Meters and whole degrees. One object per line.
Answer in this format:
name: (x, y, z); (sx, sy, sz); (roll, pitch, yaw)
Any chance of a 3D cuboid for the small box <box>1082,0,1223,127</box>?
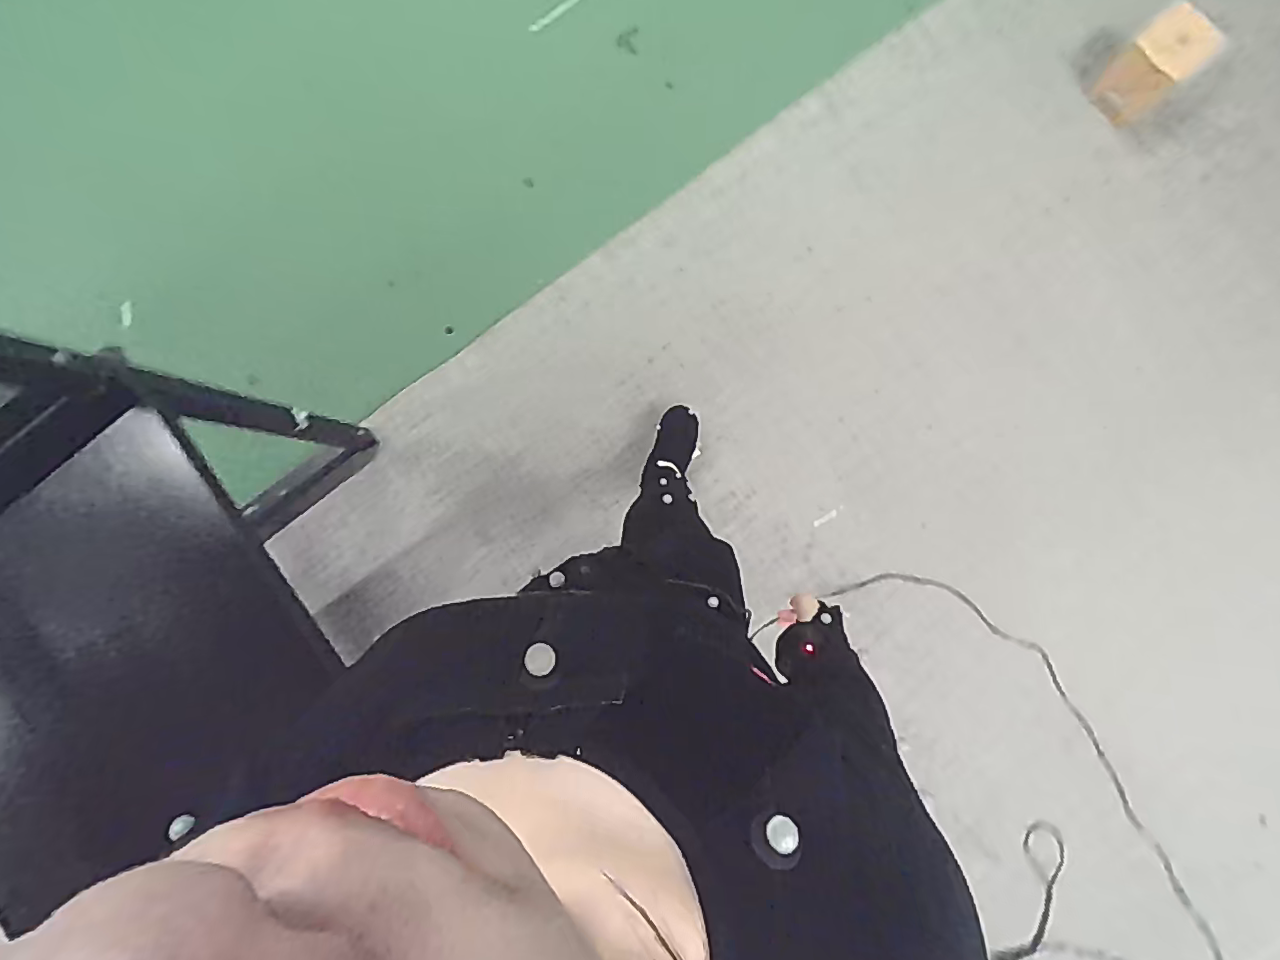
small box: (1.343, -1.096, 1.431); (0.179, 0.176, 0.168); (-41, 86, -1)
